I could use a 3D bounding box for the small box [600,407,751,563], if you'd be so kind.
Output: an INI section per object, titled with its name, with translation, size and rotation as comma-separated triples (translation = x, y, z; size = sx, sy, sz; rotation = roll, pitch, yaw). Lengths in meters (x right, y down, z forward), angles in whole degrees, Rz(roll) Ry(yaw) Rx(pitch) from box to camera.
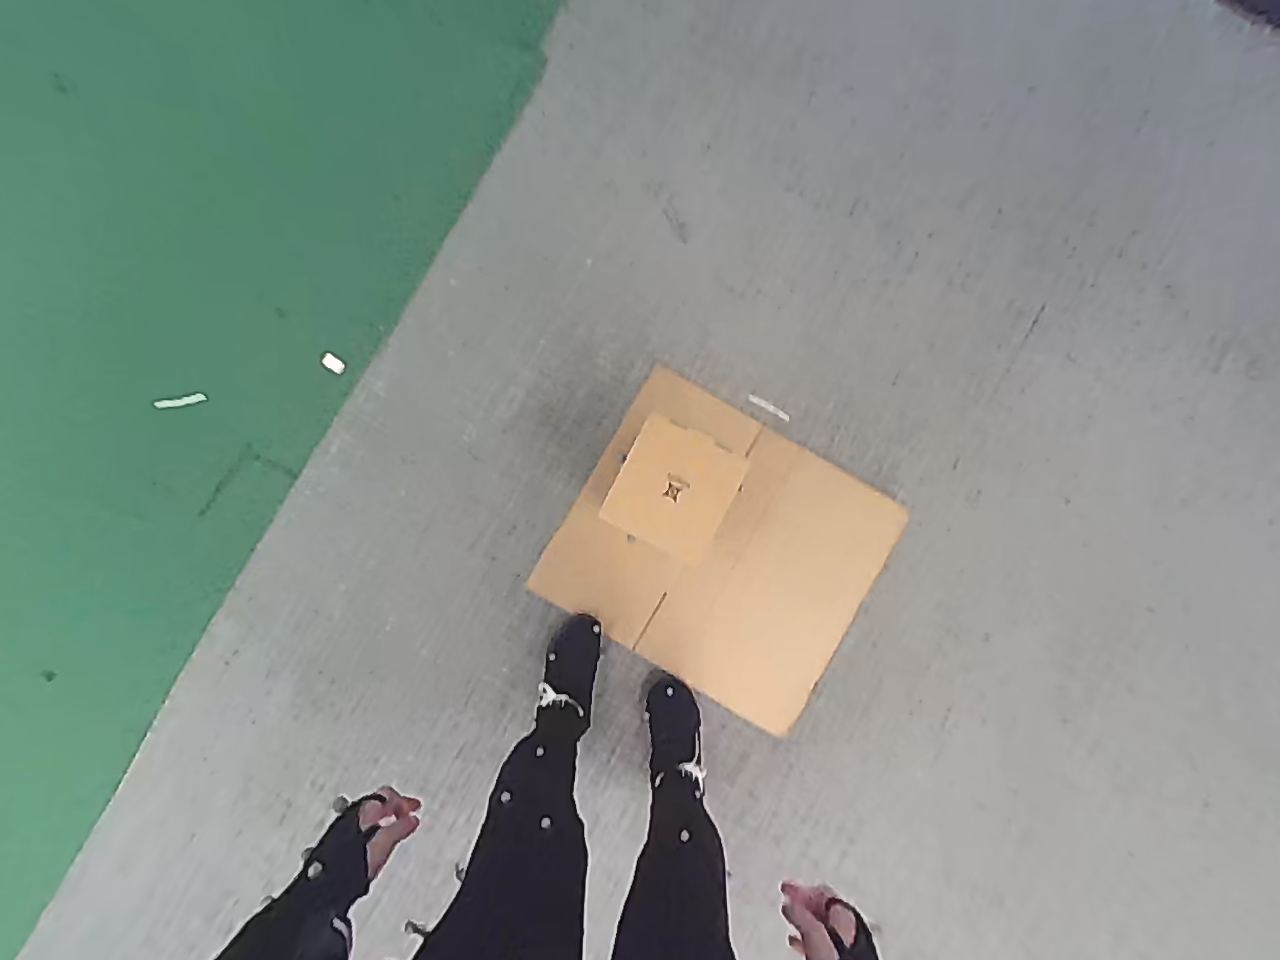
[small box]
translation = 0.054, 0.011, 0.852
size = 0.168, 0.176, 0.179
rotation = 26, 87, 2
